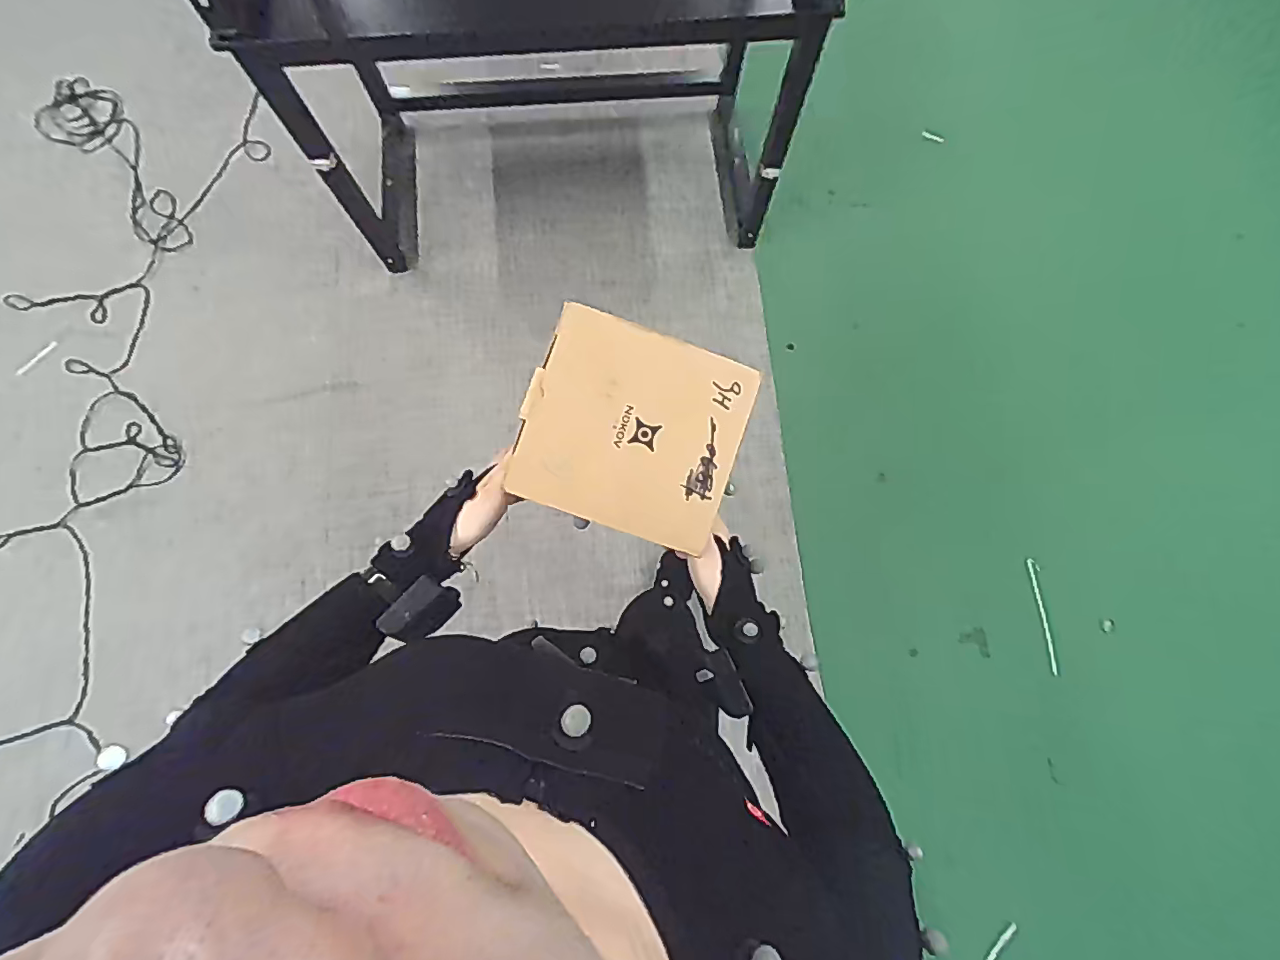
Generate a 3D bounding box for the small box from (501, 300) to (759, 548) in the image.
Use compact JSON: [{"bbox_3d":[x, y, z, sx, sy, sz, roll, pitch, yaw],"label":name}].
[{"bbox_3d":[-0.013,-0.043,0.526,0.179,0.176,0.168,19,87,-4],"label":"small box"}]
